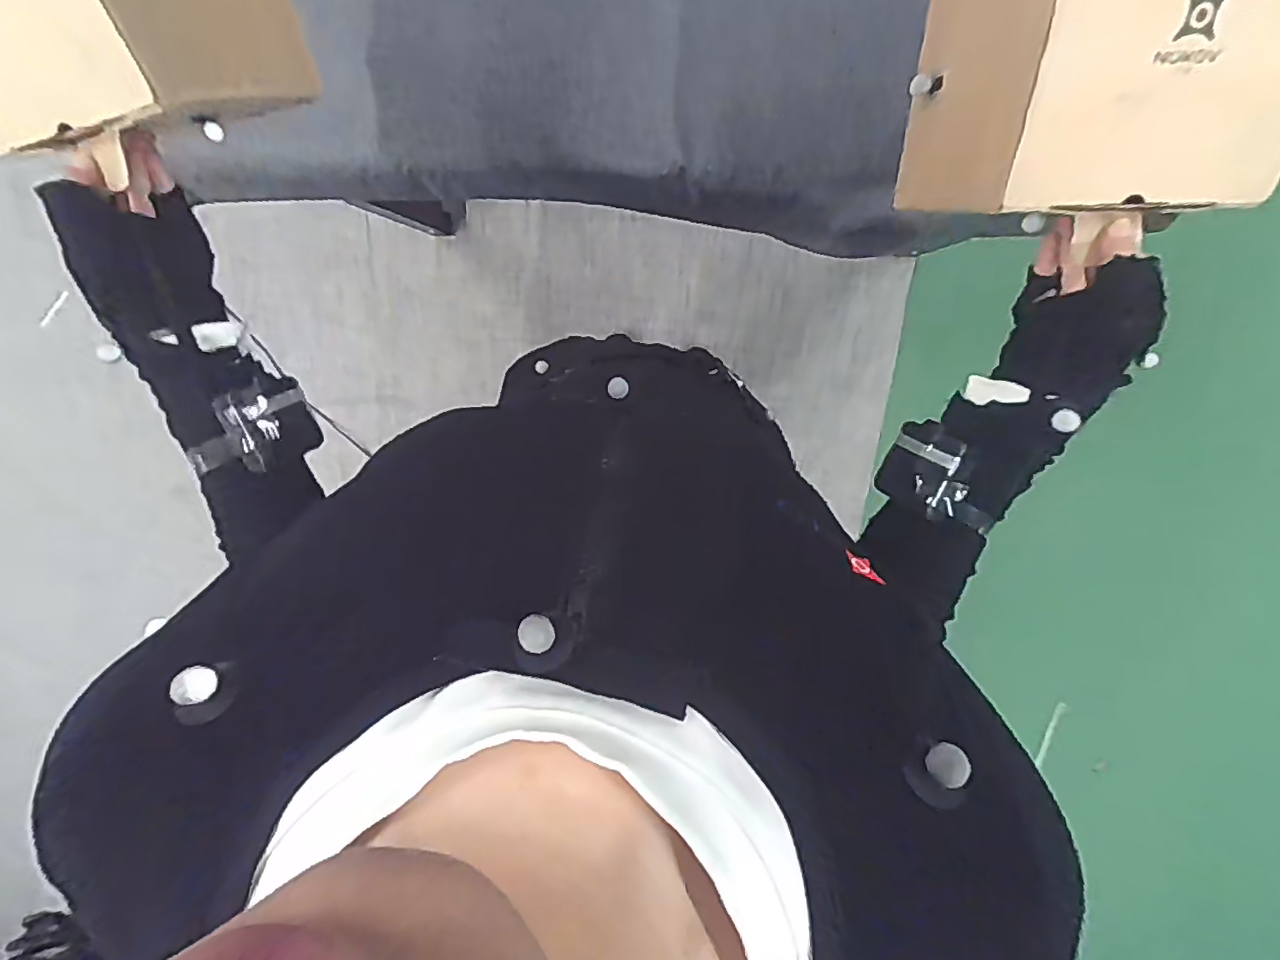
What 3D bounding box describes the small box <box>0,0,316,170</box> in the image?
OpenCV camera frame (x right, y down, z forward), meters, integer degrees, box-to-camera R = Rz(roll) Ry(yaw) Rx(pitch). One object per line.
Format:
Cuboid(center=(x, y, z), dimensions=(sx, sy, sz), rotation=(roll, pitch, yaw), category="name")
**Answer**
Cuboid(center=(-0.367, -0.331, 0.360), dimensions=(0.168, 0.176, 0.179), rotation=(-4, 125, 15), category="small box")
